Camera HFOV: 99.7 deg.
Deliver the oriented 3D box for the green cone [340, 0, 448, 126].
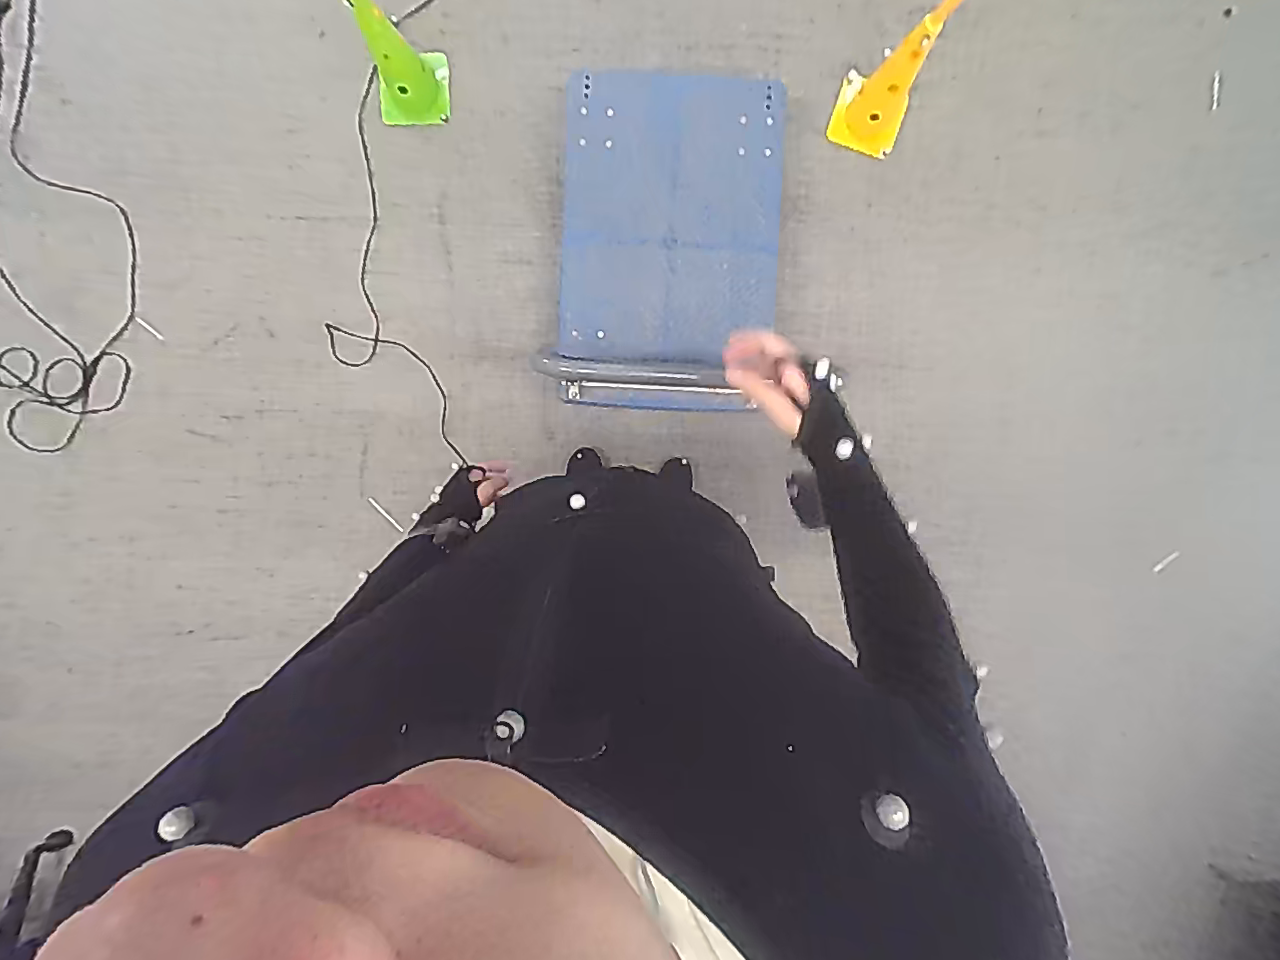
[{"bbox_3d":[-0.663,-1.125,1.394,0.202,0.368,0.200,-2,93,1],"label":"green cone"}]
